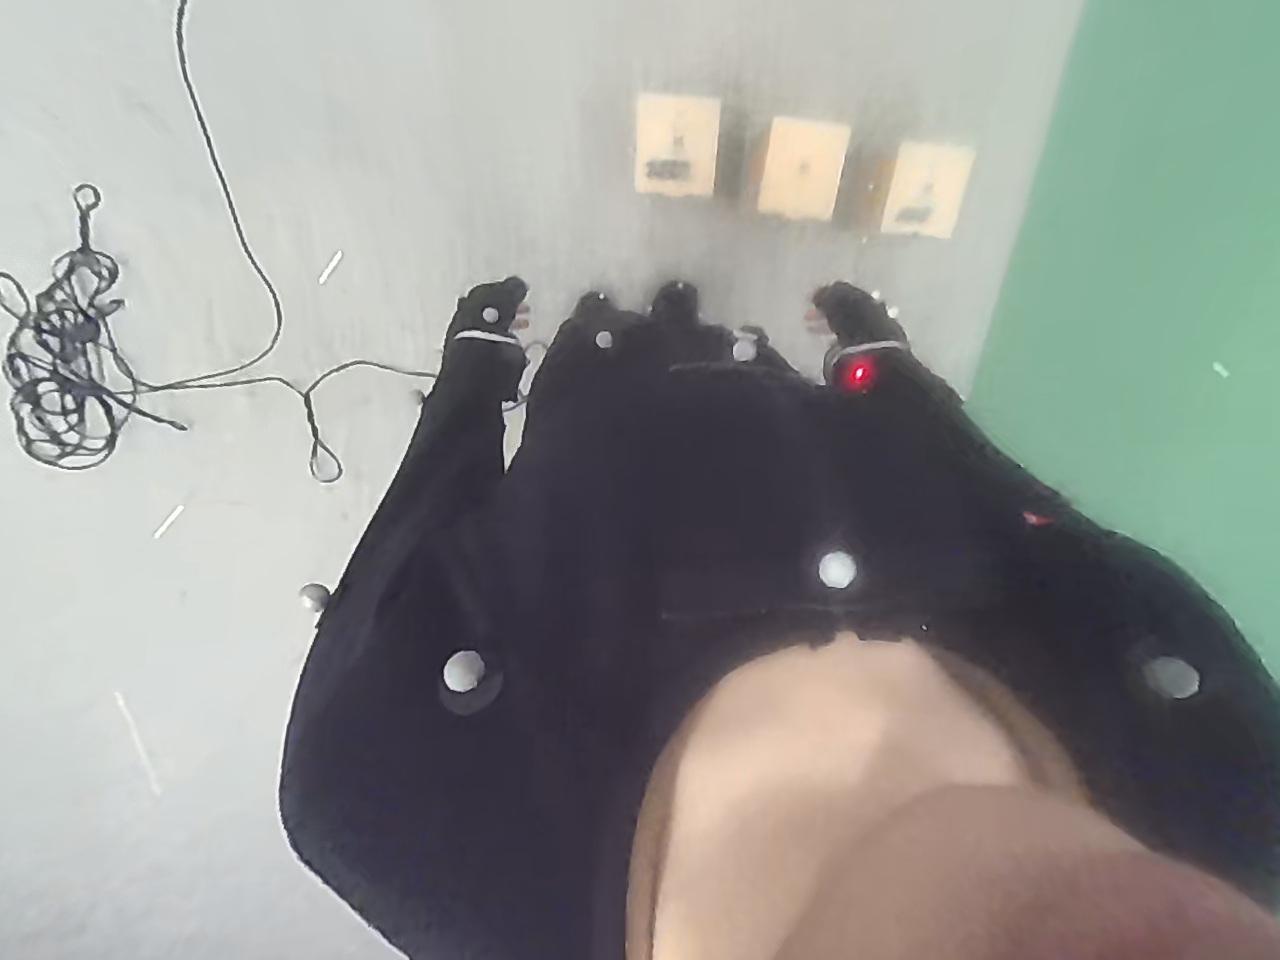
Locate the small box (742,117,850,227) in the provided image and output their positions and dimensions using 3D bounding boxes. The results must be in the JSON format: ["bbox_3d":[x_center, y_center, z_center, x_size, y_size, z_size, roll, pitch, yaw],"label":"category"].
[{"bbox_3d":[0.332,-0.667,1.191,0.168,0.176,0.179,5,112,-5],"label":"small box"}]

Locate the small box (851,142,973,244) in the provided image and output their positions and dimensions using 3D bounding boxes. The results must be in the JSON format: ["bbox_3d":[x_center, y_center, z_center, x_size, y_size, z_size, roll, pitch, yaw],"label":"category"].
[{"bbox_3d":[0.598,-0.636,1.218,0.168,0.176,0.179,4,111,-5],"label":"small box"}]
